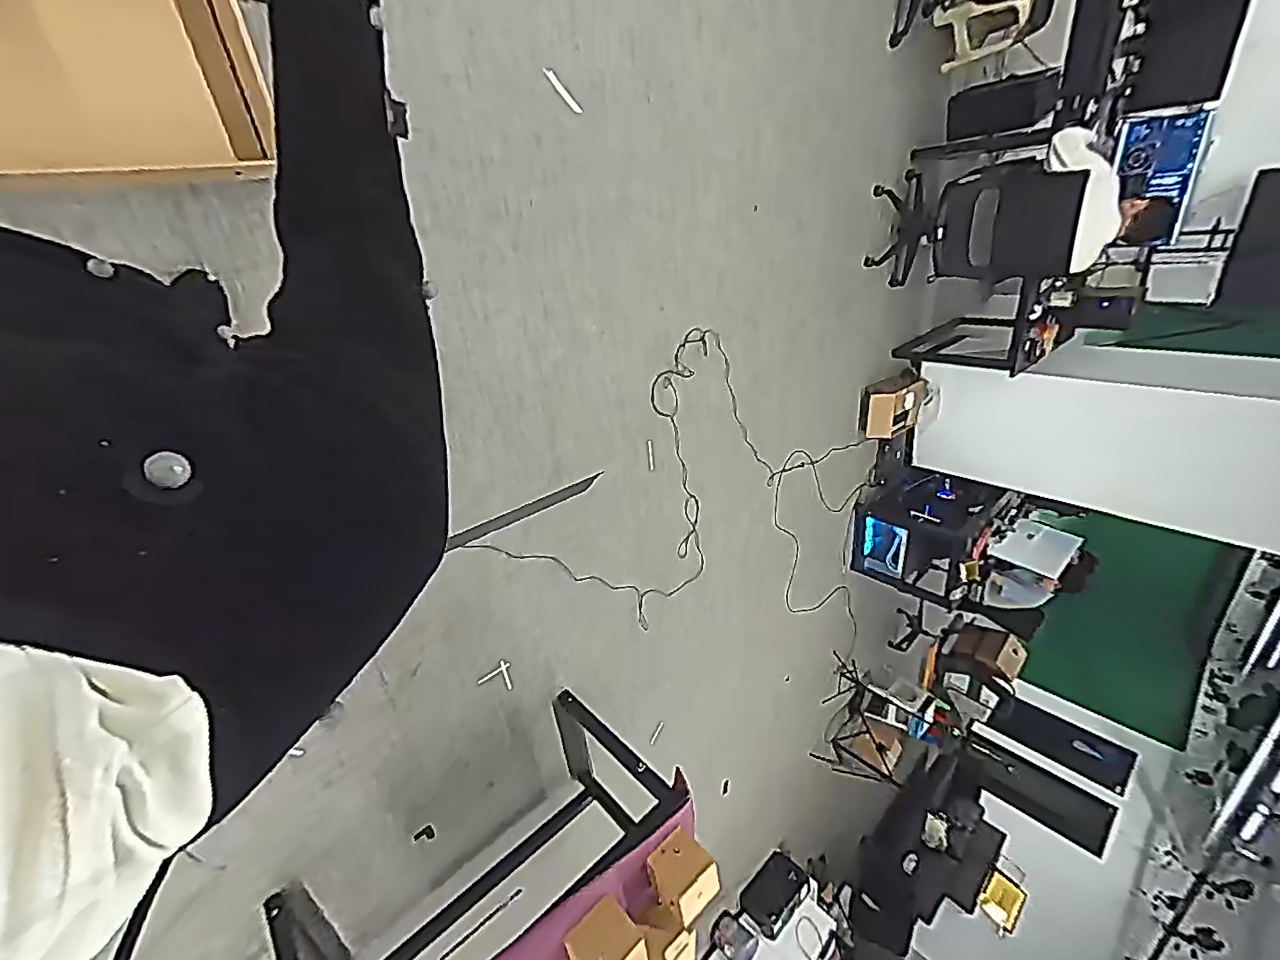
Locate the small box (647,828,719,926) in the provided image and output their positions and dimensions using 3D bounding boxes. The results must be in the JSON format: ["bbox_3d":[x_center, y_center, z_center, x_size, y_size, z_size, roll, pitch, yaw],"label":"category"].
[{"bbox_3d":[0.145,1.325,1.818,0.168,0.176,0.179,-28,123,-31],"label":"small box"}]

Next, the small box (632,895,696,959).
[{"bbox_3d":[0.073,1.575,1.846,0.168,0.176,0.179,-19,118,-37],"label":"small box"}]

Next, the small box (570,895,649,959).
[{"bbox_3d":[-0.096,1.420,1.626,0.179,0.176,0.168,-26,122,-35],"label":"small box"}]
